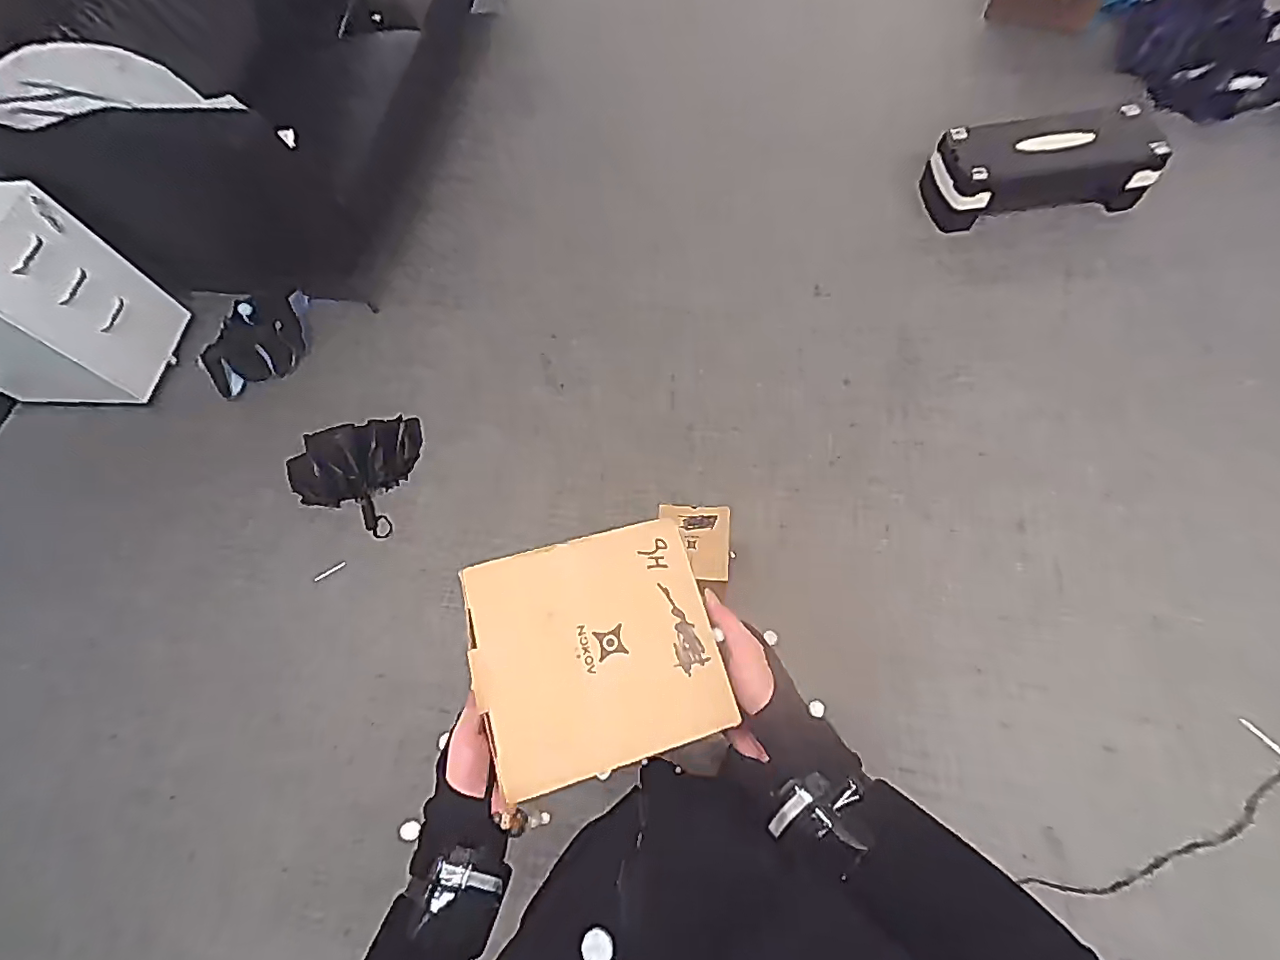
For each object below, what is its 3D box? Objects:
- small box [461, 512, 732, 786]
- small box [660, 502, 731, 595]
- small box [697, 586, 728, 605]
[{"bbox_3d":[-0.044,0.148,0.481,0.179,0.176,0.168,-13,71,-13],"label":"small box"},{"bbox_3d":[0.130,0.165,1.294,0.168,0.176,0.179,1,66,9],"label":"small box"},{"bbox_3d":[0.152,0.227,1.446,0.168,0.176,0.179,2,67,9],"label":"small box"}]
